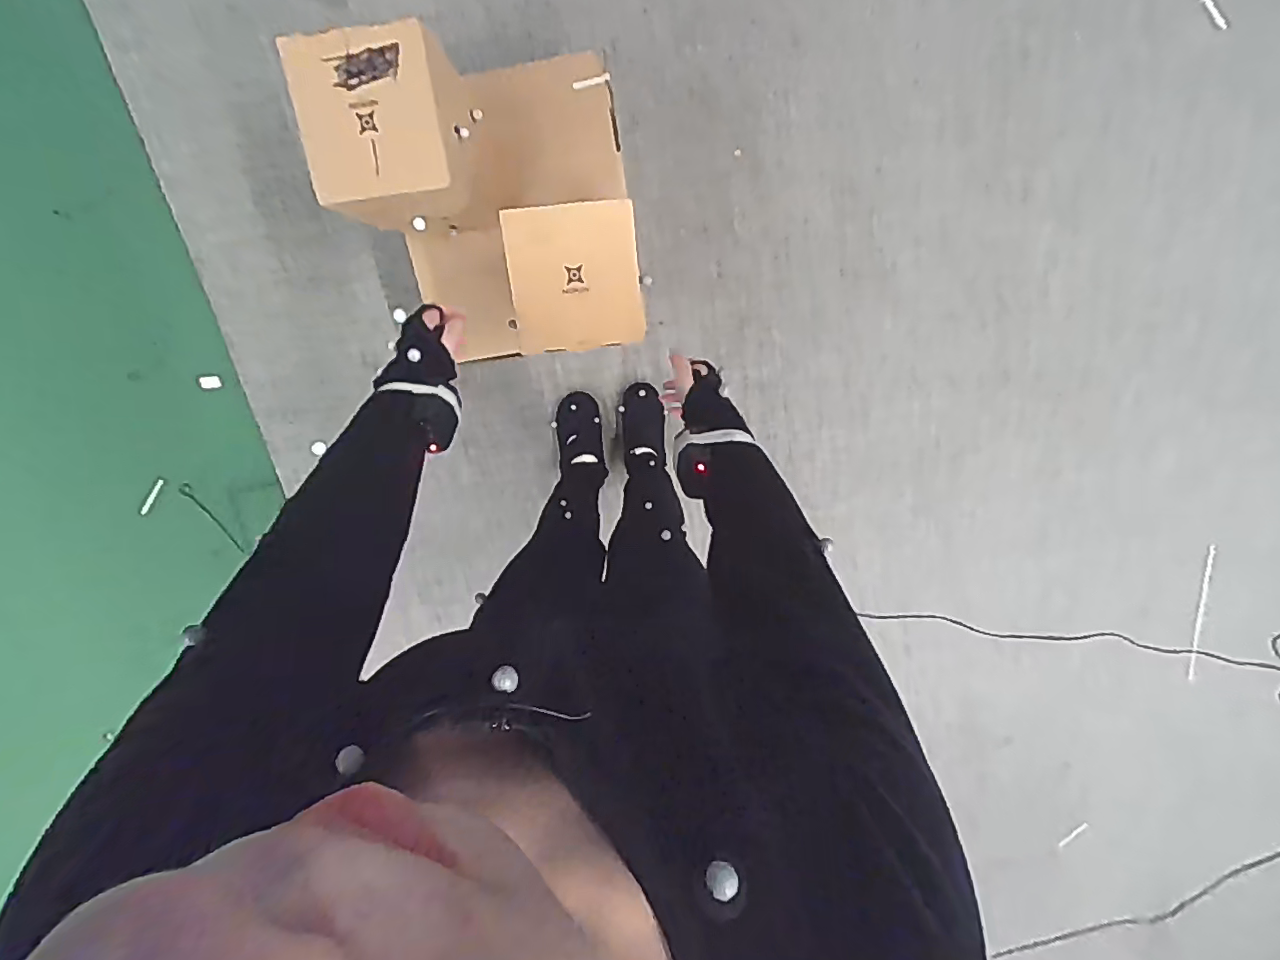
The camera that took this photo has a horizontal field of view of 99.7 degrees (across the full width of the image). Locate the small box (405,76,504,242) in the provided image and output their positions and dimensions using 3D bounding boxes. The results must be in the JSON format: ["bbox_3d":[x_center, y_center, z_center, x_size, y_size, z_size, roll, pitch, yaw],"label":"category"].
[{"bbox_3d":[-0.328,-0.498,0.864,0.168,0.176,0.179,-9,105,2],"label":"small box"}]

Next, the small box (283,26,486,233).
[{"bbox_3d":[-0.316,-0.441,0.708,0.168,0.176,0.179,-7,106,1],"label":"small box"}]

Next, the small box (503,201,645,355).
[{"bbox_3d":[-0.086,-0.276,0.765,0.168,0.176,0.179,-6,108,-1],"label":"small box"}]
